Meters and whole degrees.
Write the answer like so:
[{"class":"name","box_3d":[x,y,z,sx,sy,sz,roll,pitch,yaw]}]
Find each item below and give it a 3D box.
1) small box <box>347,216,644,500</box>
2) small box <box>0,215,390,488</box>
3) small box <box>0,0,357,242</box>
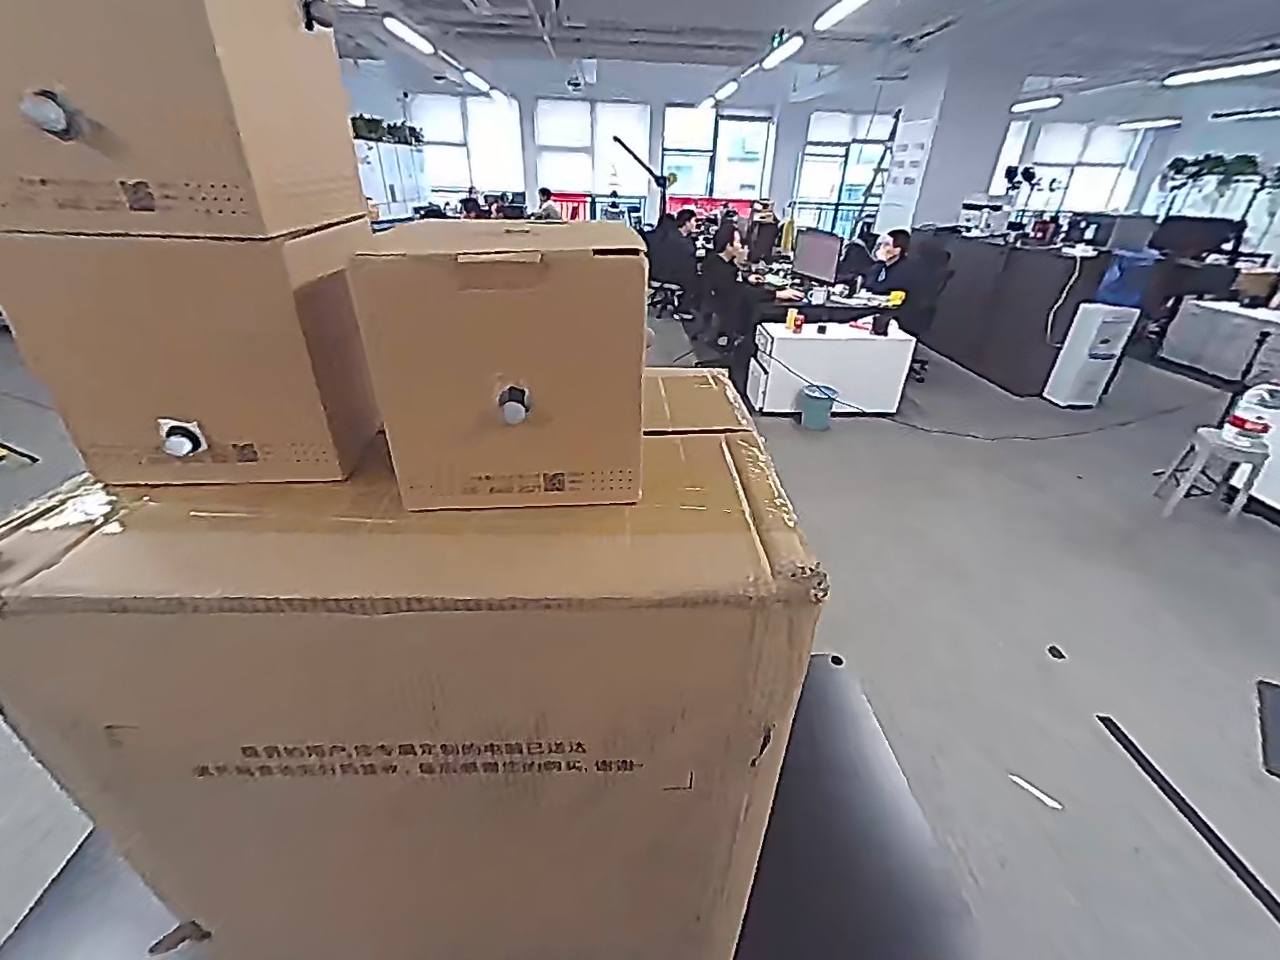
[{"class":"small box","box_3d":[-0.085,-0.095,0.406,0.168,0.176,0.179,-1,32,-6]},{"class":"small box","box_3d":[-0.301,-0.108,0.418,0.168,0.176,0.179,-3,31,-8]},{"class":"small box","box_3d":[-0.297,-0.250,0.334,0.168,0.176,0.179,-1,30,-6]}]
